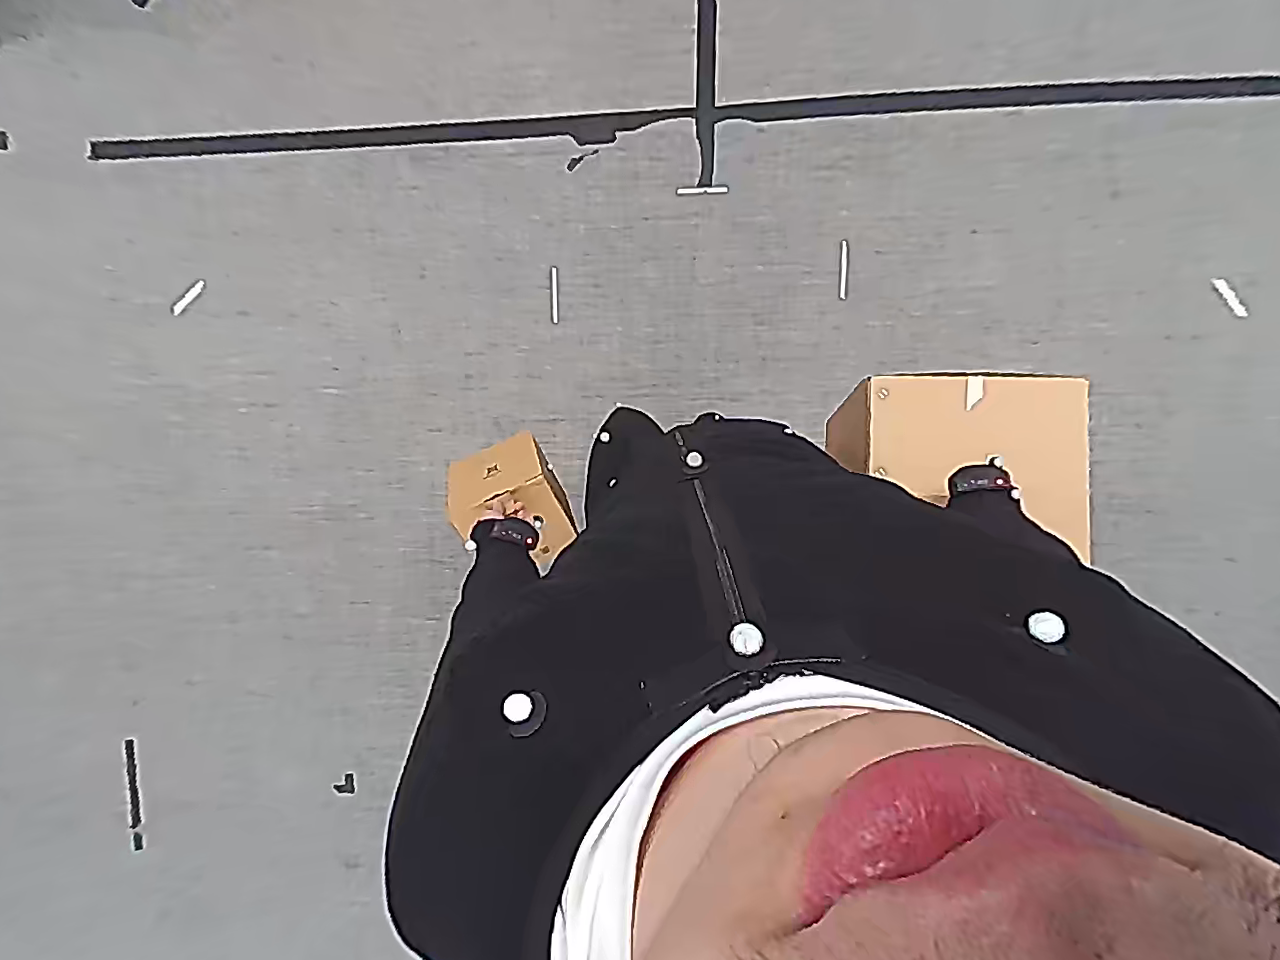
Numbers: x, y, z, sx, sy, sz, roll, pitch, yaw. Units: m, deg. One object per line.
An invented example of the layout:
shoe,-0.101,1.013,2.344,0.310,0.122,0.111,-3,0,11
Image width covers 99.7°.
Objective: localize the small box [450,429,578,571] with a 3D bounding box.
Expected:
small box,-0.228,0.043,0.984,0.168,0.179,0.176,-25,125,-3
